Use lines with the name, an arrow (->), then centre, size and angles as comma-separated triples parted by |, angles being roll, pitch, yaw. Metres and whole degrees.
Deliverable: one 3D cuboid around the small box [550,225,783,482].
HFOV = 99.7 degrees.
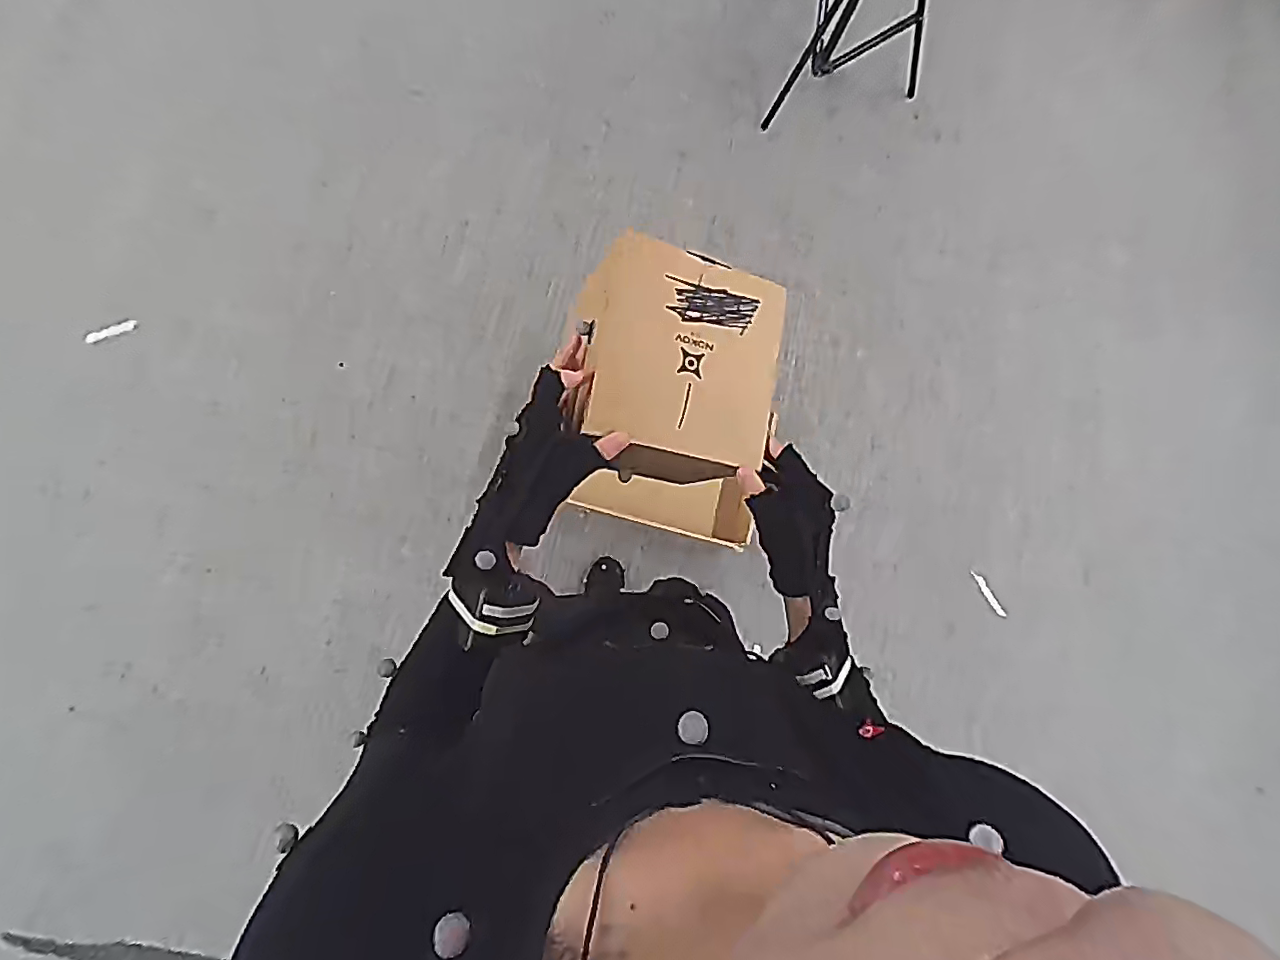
small box -> 0.017, -0.102, 0.528 | 0.168, 0.176, 0.179 | 11, 81, -20
